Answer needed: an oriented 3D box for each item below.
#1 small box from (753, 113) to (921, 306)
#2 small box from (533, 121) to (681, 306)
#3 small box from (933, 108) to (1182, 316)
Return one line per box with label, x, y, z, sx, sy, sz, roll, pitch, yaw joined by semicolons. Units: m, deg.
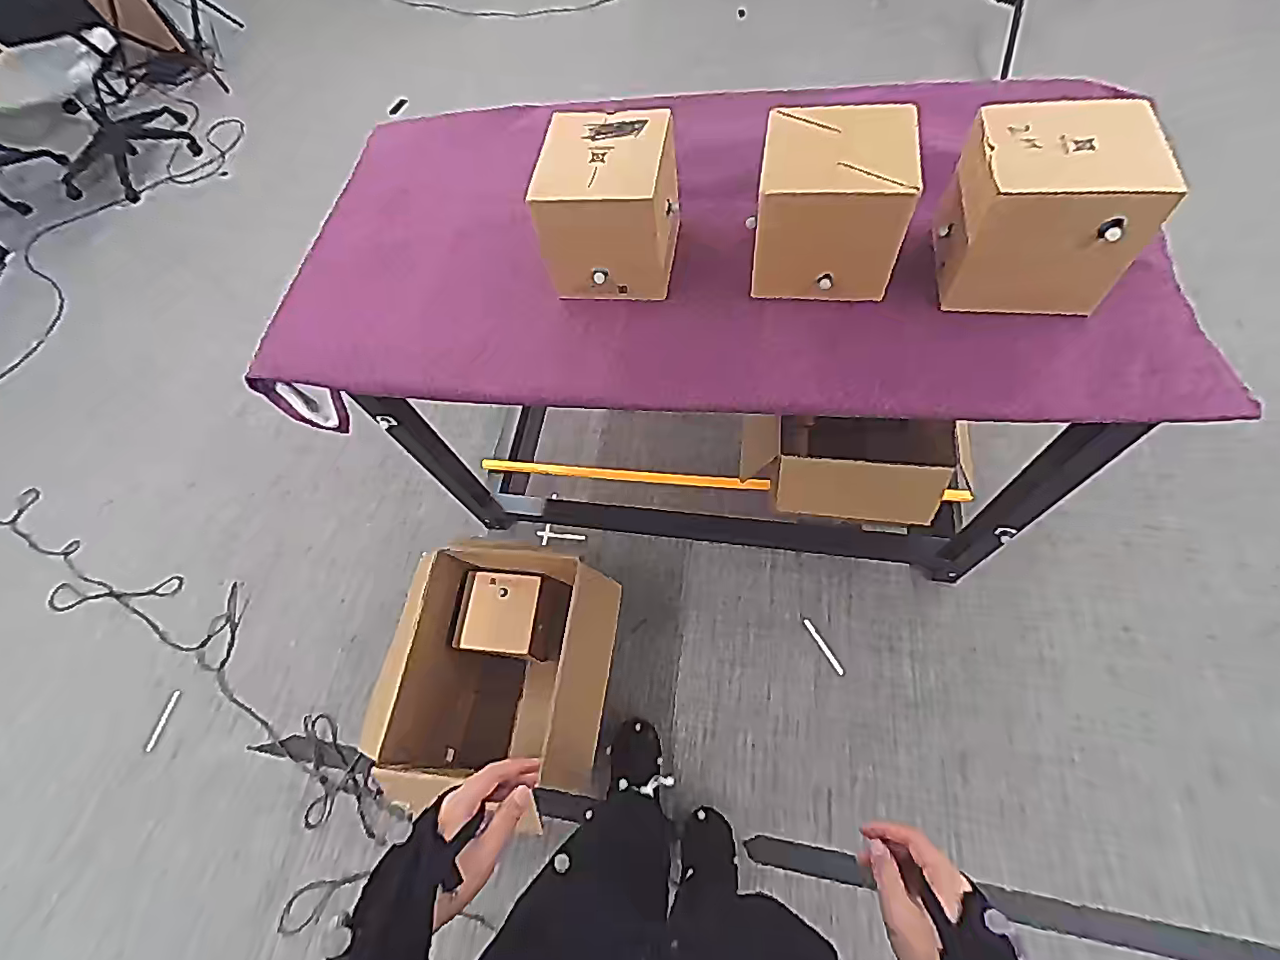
small box;0.249;-0.355;0.717;0.179;0.176;0.168;6;63;12
small box;-0.034;-0.376;0.775;0.168;0.176;0.179;5;64;11
small box;0.487;-0.321;0.665;0.179;0.176;0.168;6;62;11
